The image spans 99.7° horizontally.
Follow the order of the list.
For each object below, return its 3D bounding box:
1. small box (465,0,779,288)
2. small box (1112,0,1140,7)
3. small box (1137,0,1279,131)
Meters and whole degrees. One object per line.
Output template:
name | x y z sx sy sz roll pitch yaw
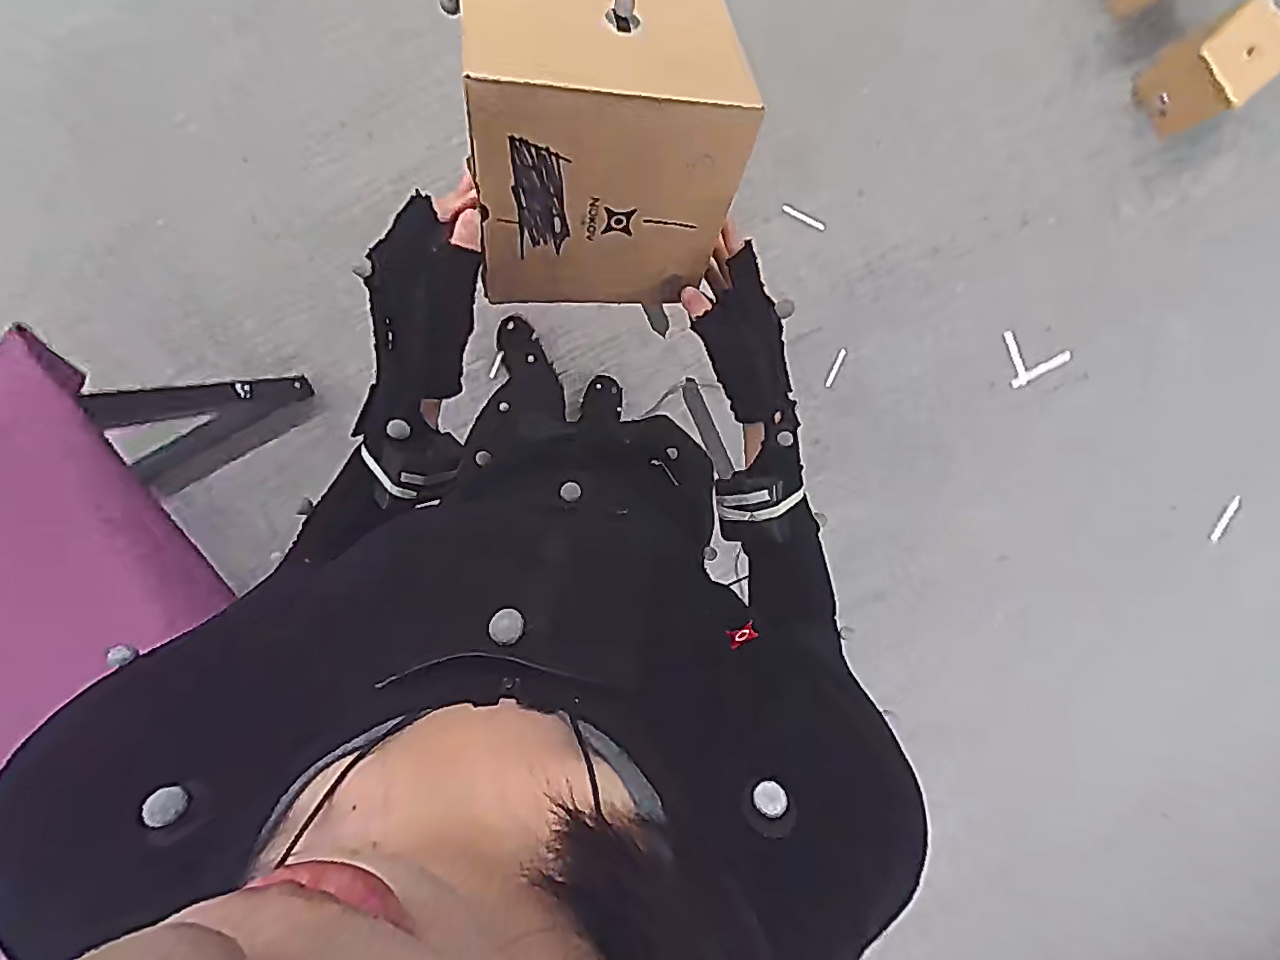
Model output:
small box | -0.030 -0.266 0.393 0.179 0.168 0.176 -4 66 -14
small box | 1.196 -1.228 1.218 0.168 0.176 0.179 -27 102 4
small box | 1.355 -0.984 1.279 0.179 0.176 0.168 -44 100 8
